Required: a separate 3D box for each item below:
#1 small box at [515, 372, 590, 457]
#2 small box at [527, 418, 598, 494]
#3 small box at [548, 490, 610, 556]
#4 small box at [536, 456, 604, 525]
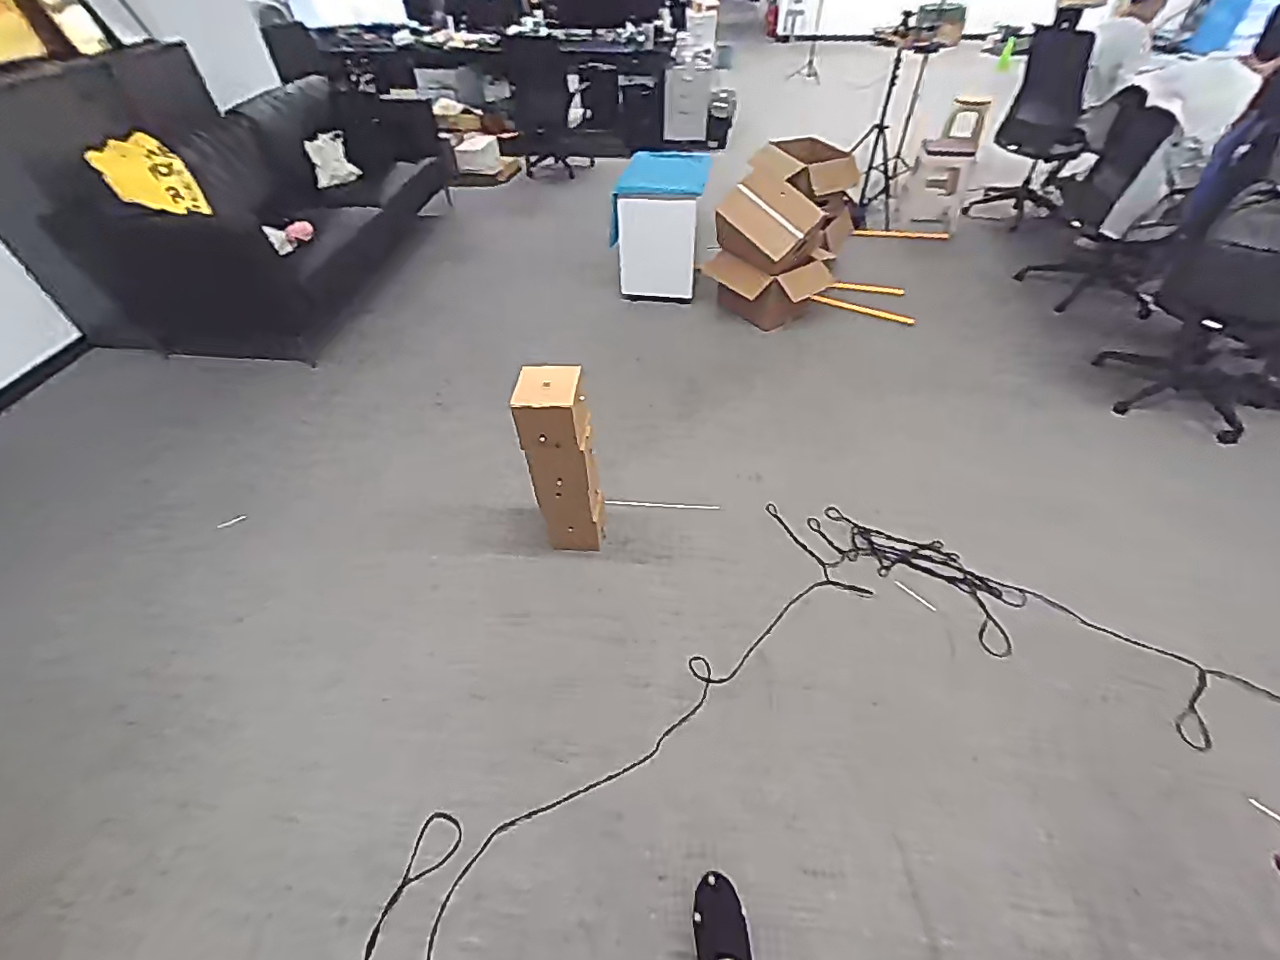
[{"bbox_3d":[-0.237,-0.184,1.511,0.168,0.176,0.179,0,47,4],"label":"small box"},{"bbox_3d":[-0.225,-0.072,1.629,0.179,0.176,0.168,1,46,4],"label":"small box"},{"bbox_3d":[-0.205,0.147,1.872,0.179,0.176,0.168,3,46,5],"label":"small box"},{"bbox_3d":[-0.222,0.031,1.757,0.179,0.176,0.168,2,47,6],"label":"small box"}]
